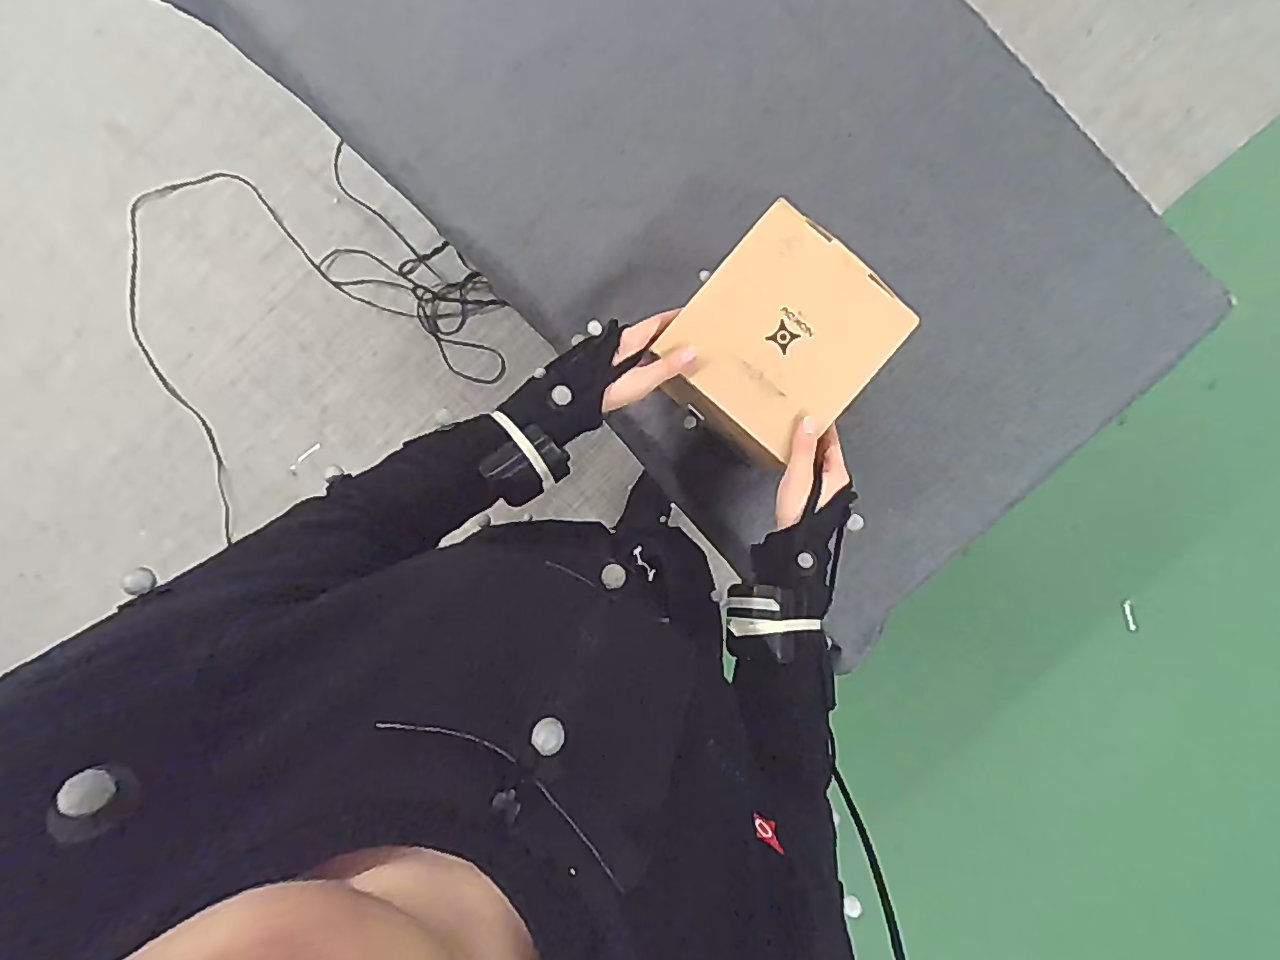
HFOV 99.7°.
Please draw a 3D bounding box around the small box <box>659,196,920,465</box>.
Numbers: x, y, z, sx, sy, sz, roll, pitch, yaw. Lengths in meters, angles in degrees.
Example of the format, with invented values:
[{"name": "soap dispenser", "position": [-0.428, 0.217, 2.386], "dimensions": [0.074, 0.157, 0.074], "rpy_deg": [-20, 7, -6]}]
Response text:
[{"name": "small box", "position": [0.129, -0.133, 0.549], "dimensions": [0.168, 0.176, 0.179], "rpy_deg": [40, 92, -1]}]
